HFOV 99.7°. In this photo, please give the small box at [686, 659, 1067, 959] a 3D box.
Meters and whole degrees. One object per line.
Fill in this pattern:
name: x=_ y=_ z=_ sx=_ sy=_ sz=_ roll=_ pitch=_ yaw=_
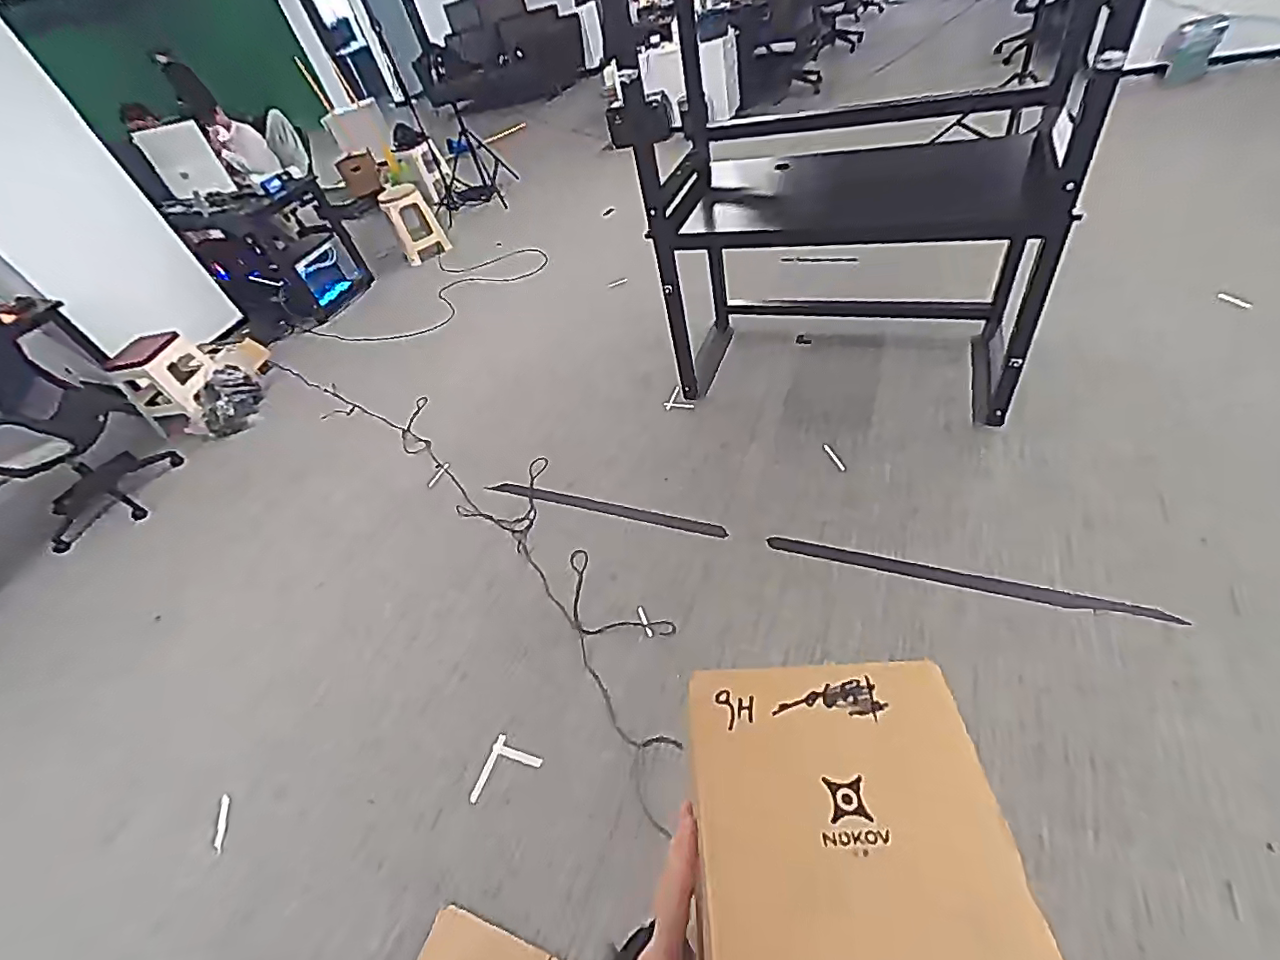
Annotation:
small box: x=0.119 y=0.236 z=0.350 sx=0.168 sy=0.176 sz=0.179 roll=-2 pitch=47 yaw=0
